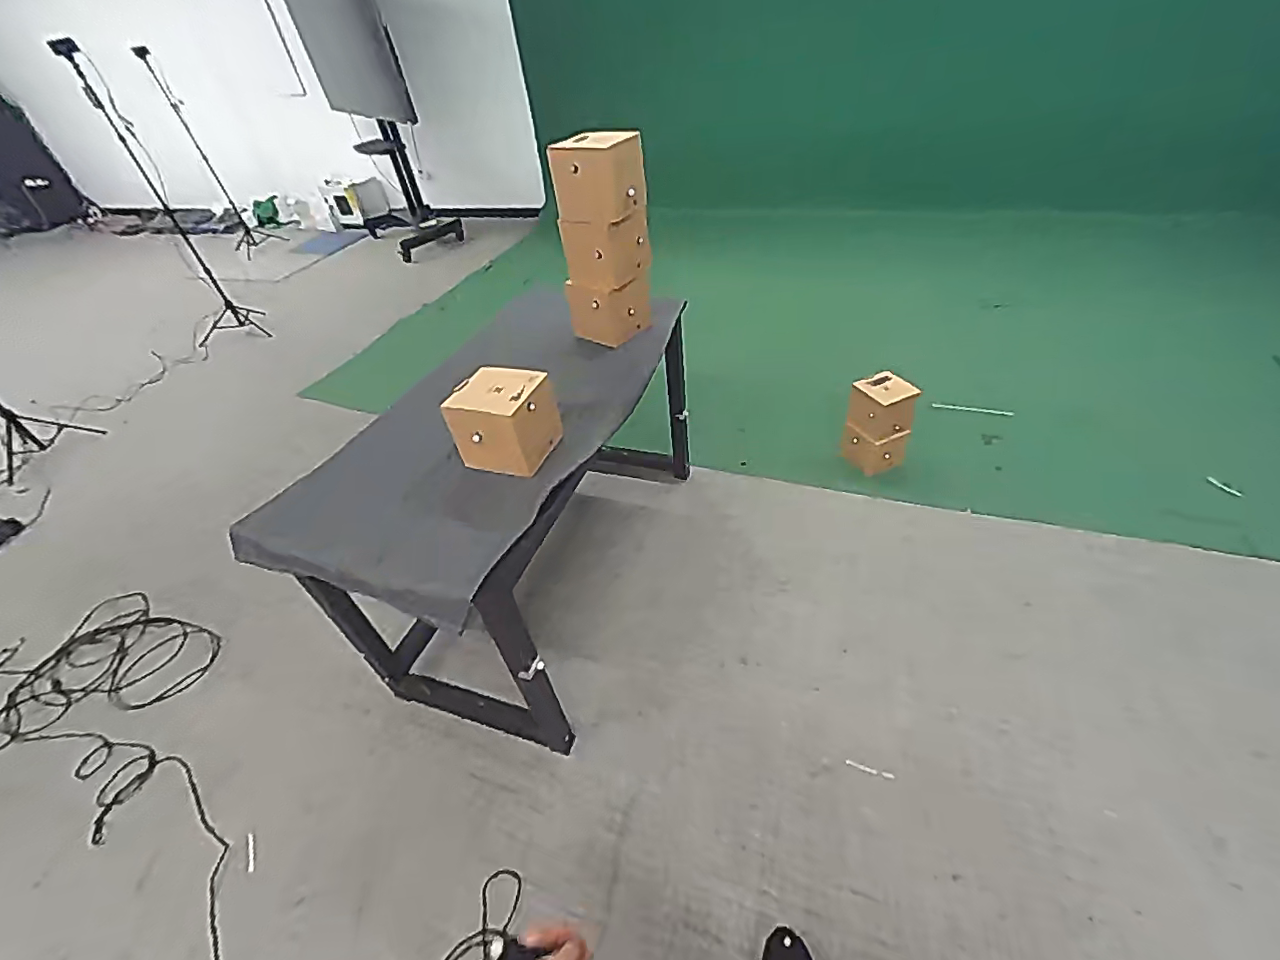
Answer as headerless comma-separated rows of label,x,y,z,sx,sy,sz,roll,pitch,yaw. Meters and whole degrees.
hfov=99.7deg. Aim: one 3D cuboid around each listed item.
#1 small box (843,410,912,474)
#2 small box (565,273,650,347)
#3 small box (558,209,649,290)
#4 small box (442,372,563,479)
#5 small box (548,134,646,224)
small box,0.923,-0.142,2.115,0.168,0.176,0.179,-21,43,-13
small box,-0.087,-0.505,1.576,0.179,0.176,0.168,25,51,34
small box,-0.091,-0.636,1.478,0.179,0.176,0.168,20,48,31
small box,-0.293,-0.120,1.190,0.179,0.176,0.168,9,44,20
small box,-0.102,-0.762,1.373,0.179,0.176,0.168,16,47,26
